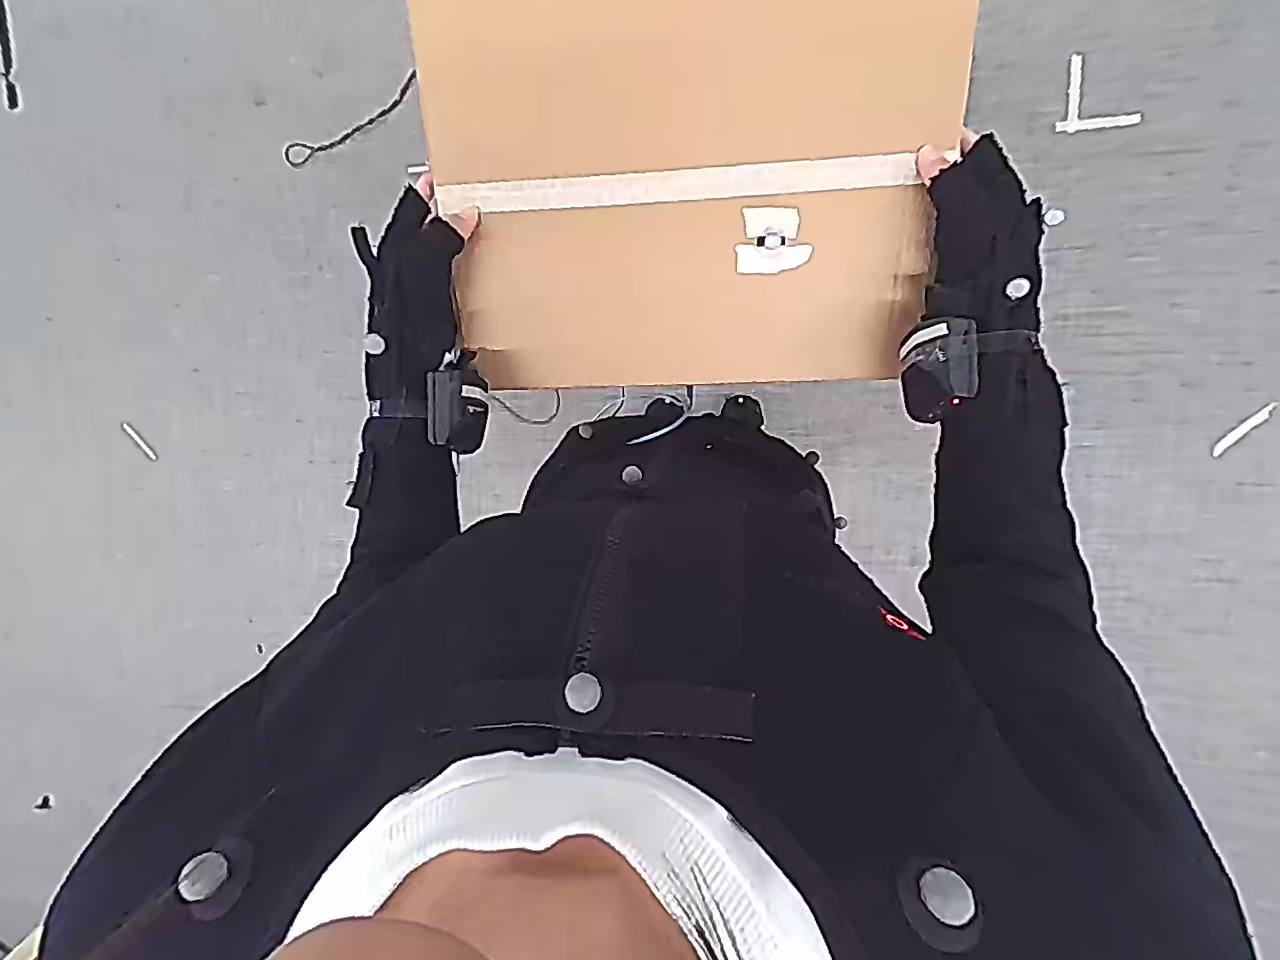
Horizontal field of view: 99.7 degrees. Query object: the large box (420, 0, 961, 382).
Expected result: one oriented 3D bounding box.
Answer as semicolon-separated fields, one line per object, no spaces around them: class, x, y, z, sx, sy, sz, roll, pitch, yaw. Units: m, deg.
large box;0.047;-0.291;0.575;0.408;0.320;0.320;-2;110;4
